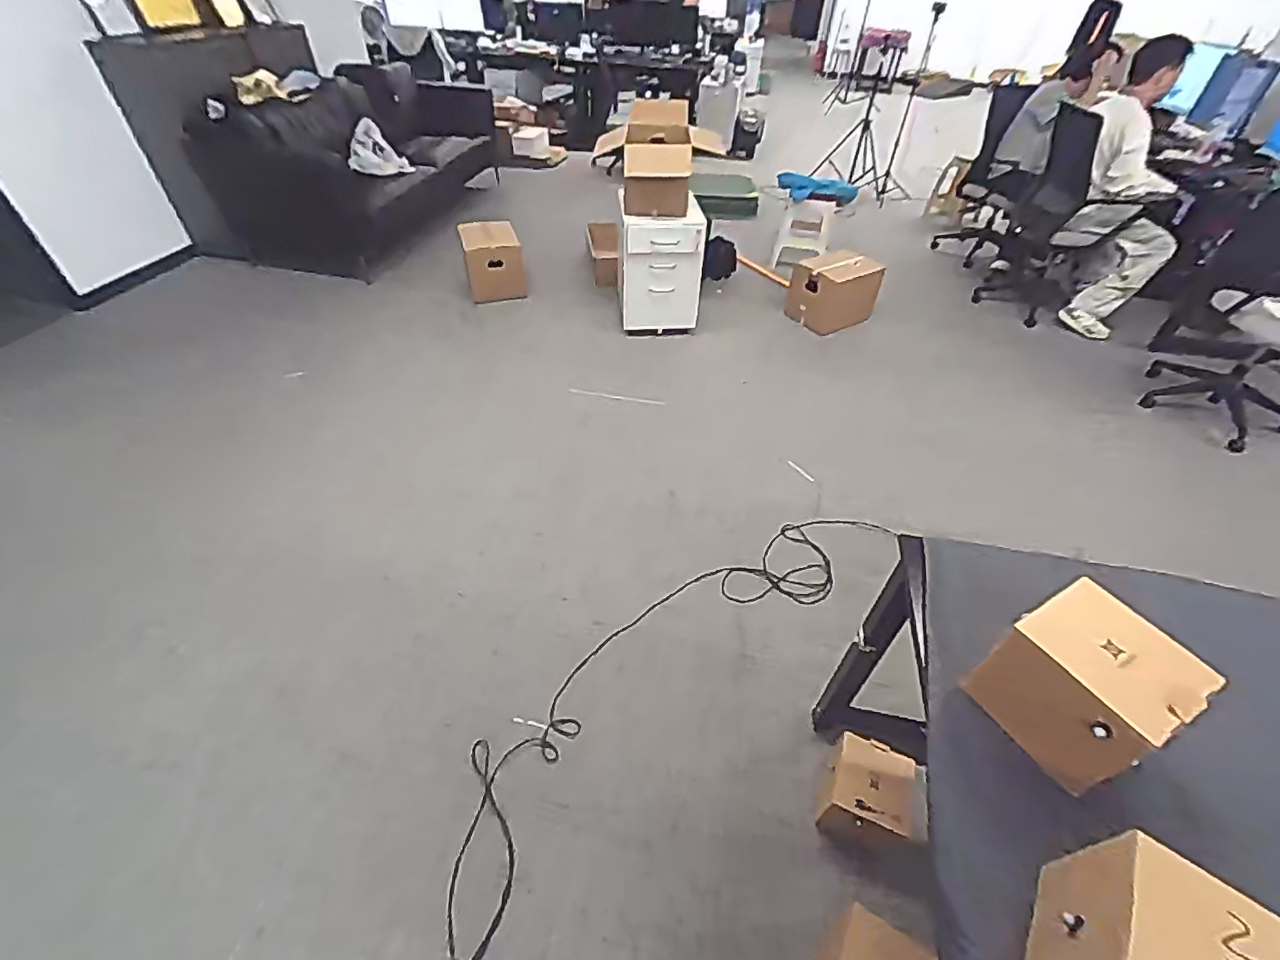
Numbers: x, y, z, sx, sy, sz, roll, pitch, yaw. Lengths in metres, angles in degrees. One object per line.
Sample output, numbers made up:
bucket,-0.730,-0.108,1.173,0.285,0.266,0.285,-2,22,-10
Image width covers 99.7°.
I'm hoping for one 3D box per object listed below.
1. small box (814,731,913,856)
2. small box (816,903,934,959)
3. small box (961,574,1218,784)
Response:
small box,0.525,0.743,1.281,0.168,0.176,0.179,19,45,17
small box,0.436,0.971,1.035,0.168,0.176,0.179,26,46,21
small box,0.584,0.266,0.729,0.168,0.176,0.179,-20,48,-22
